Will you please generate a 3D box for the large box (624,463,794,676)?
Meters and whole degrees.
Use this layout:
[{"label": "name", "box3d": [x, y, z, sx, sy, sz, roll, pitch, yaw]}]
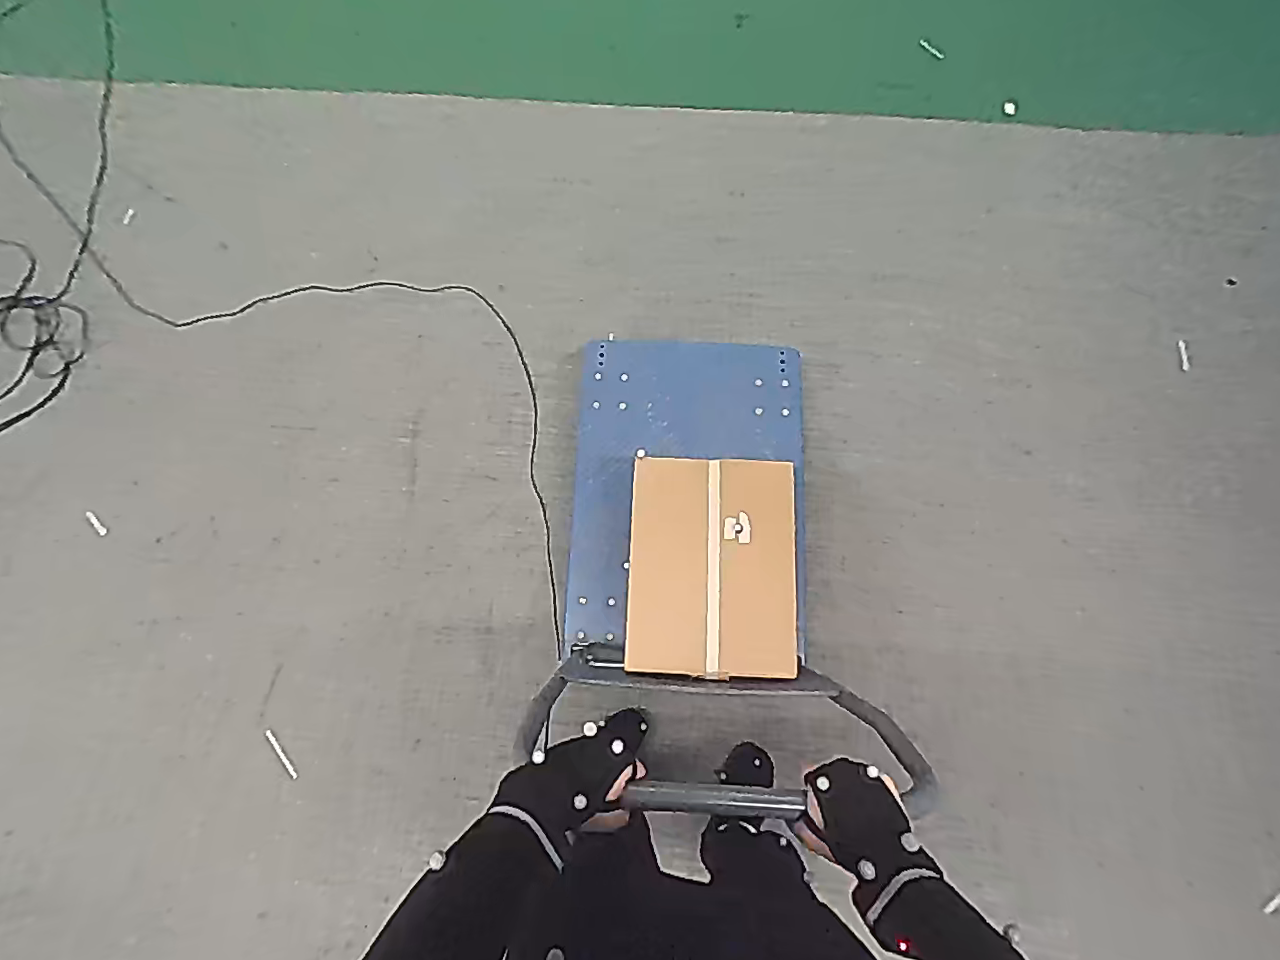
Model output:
[{"label": "large box", "box3d": [0.133, 0.199, 1.170, 0.320, 0.320, 0.408, 2, 76, 0]}]
